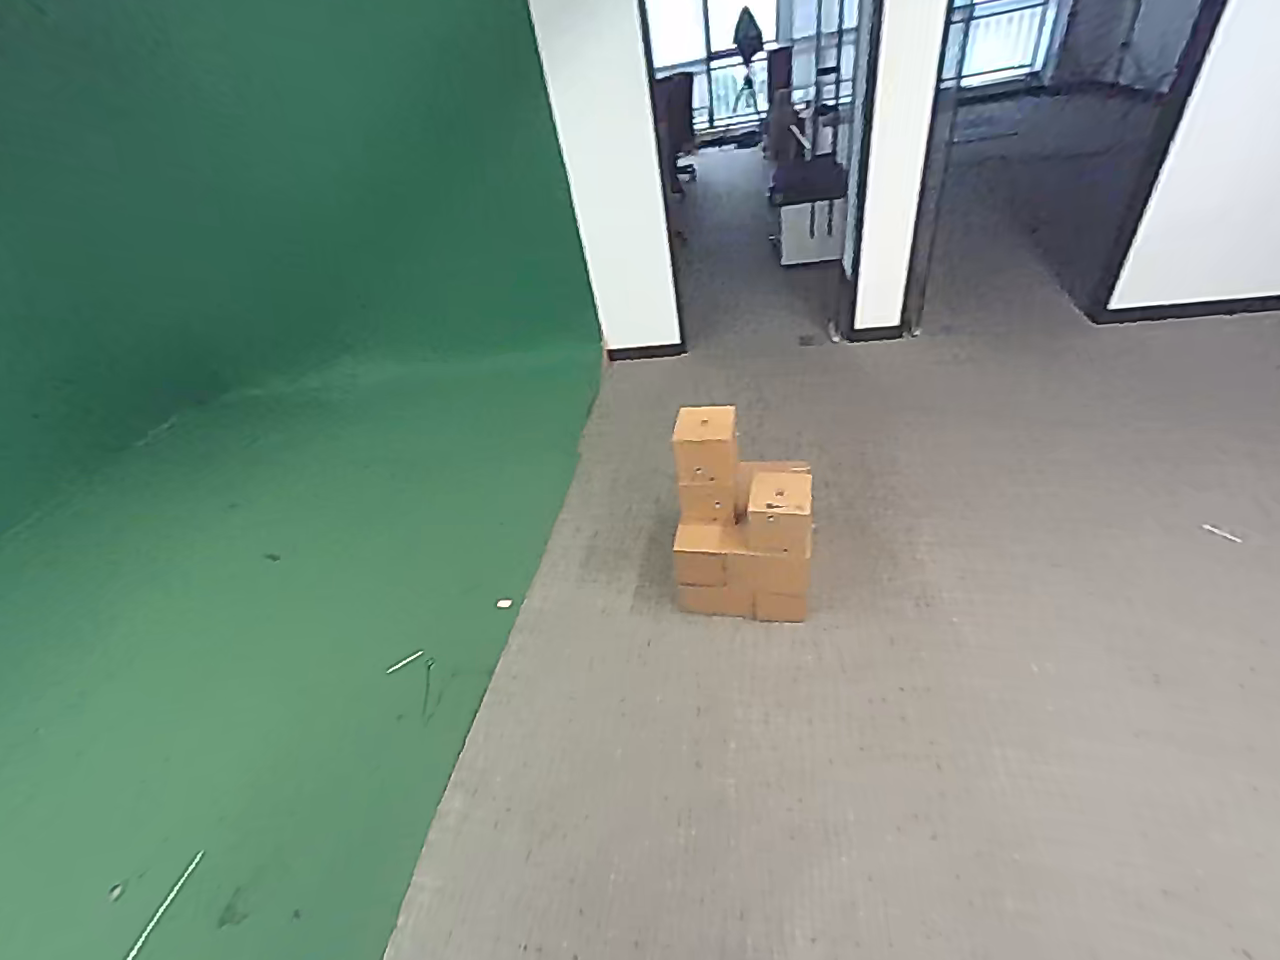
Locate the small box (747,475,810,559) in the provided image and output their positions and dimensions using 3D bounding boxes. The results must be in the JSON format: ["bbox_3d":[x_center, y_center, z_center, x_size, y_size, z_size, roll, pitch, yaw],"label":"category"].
[{"bbox_3d":[0.404,0.104,1.572,0.168,0.176,0.179,2,38,17],"label":"small box"}]

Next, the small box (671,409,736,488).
[{"bbox_3d":[0.197,-0.095,1.618,0.168,0.176,0.179,0,41,16],"label":"small box"}]

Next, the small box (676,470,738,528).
[{"bbox_3d":[0.218,0.036,1.716,0.168,0.176,0.179,1,38,16],"label":"small box"}]
